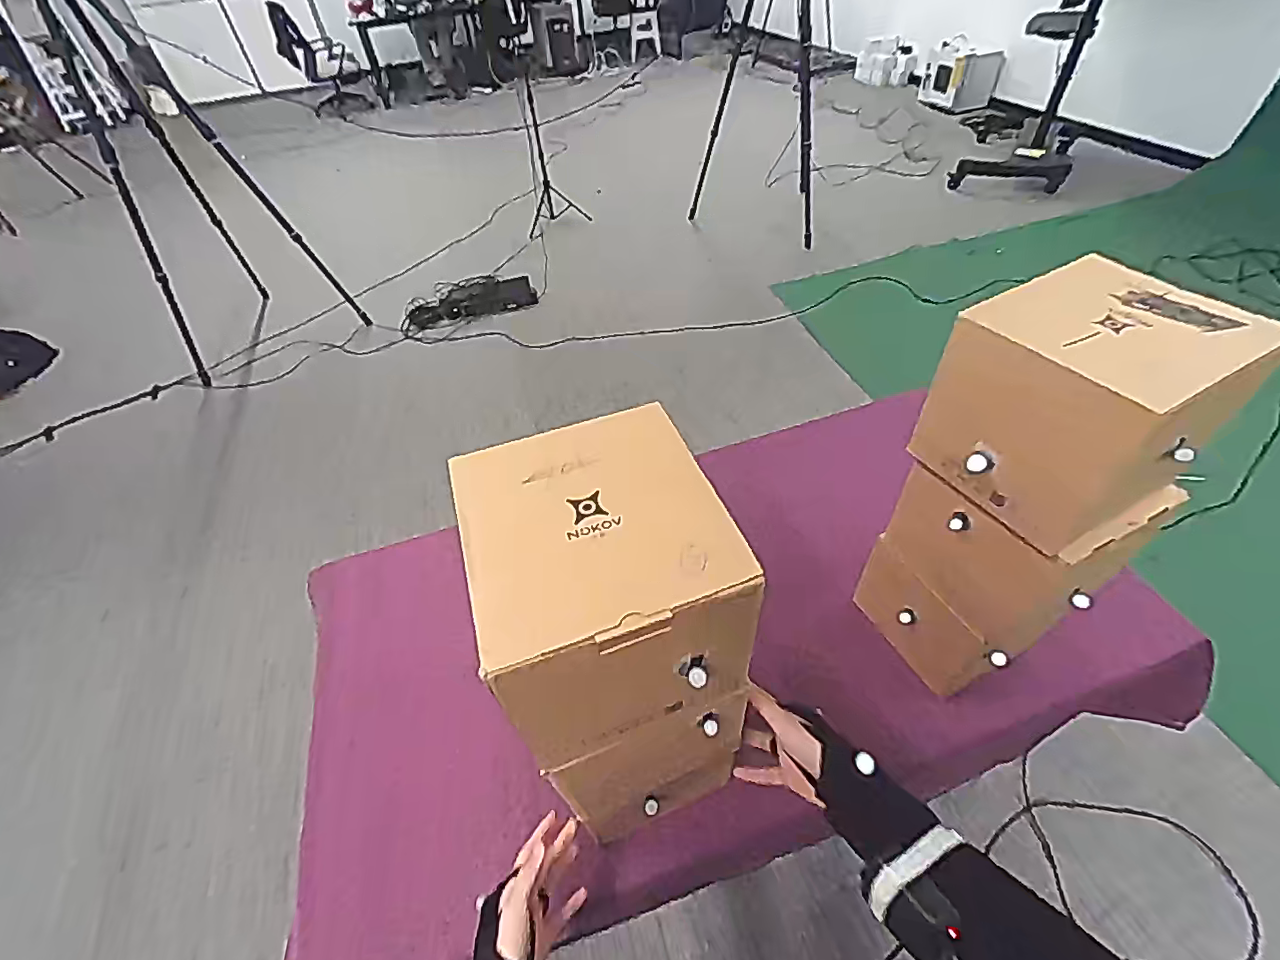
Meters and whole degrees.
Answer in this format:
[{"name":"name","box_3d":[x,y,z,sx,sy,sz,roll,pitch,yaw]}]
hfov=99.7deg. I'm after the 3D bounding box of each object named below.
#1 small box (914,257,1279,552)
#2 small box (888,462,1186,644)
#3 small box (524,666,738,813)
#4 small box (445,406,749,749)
[{"name":"small box","box_3d":[0.386,-0.068,0.488,0.179,0.176,0.168,-24,48,-14]},{"name":"small box","box_3d":[0.412,0.047,0.602,0.168,0.176,0.179,-22,49,-13]},{"name":"small box","box_3d":[-0.022,0.189,0.524,0.179,0.176,0.168,-18,48,-12]},{"name":"small box","box_3d":[-0.033,0.077,0.407,0.168,0.176,0.179,-16,47,-11]}]
